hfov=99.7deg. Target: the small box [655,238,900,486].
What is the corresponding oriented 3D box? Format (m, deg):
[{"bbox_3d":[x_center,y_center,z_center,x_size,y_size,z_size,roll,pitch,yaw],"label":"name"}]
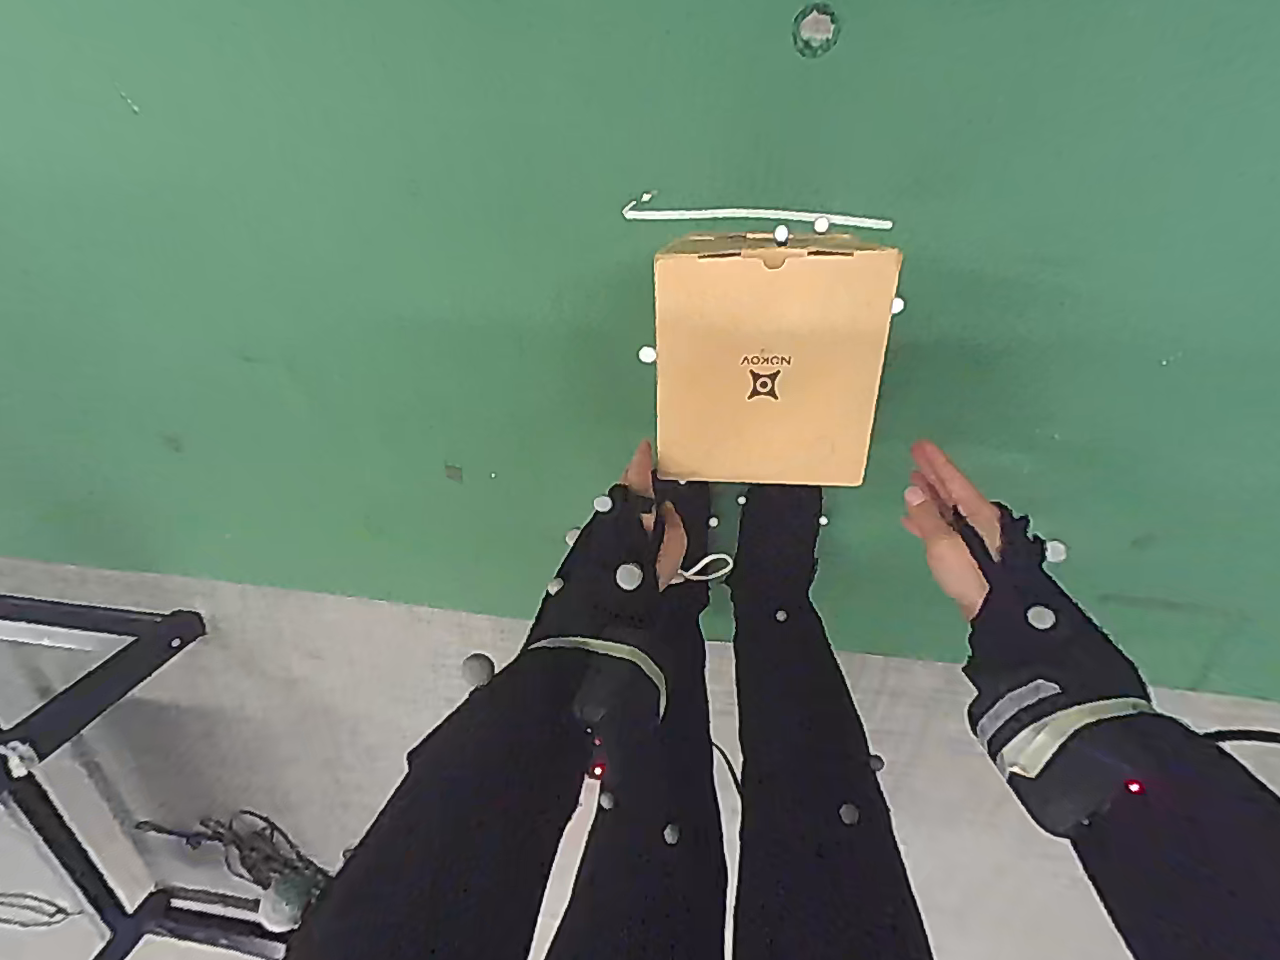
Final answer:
[{"bbox_3d":[0.104,-0.112,0.472,0.168,0.176,0.179,2,116,8],"label":"small box"}]
